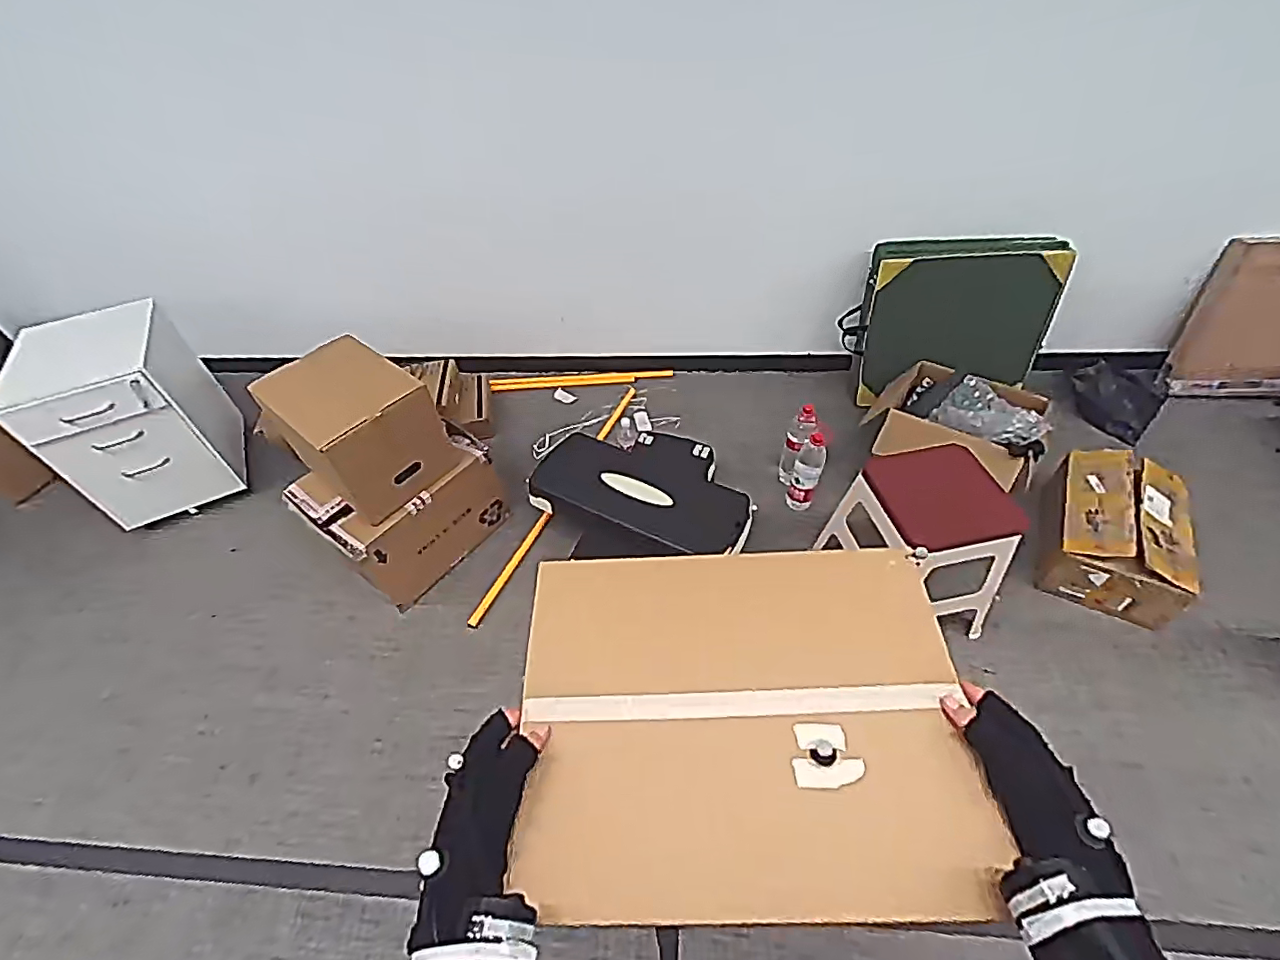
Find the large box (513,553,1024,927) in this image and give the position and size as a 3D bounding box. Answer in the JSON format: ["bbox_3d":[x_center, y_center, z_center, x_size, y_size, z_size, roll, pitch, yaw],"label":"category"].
[{"bbox_3d":[0.100,0.303,0.622,0.408,0.320,0.320,-3,53,2],"label":"large box"}]
